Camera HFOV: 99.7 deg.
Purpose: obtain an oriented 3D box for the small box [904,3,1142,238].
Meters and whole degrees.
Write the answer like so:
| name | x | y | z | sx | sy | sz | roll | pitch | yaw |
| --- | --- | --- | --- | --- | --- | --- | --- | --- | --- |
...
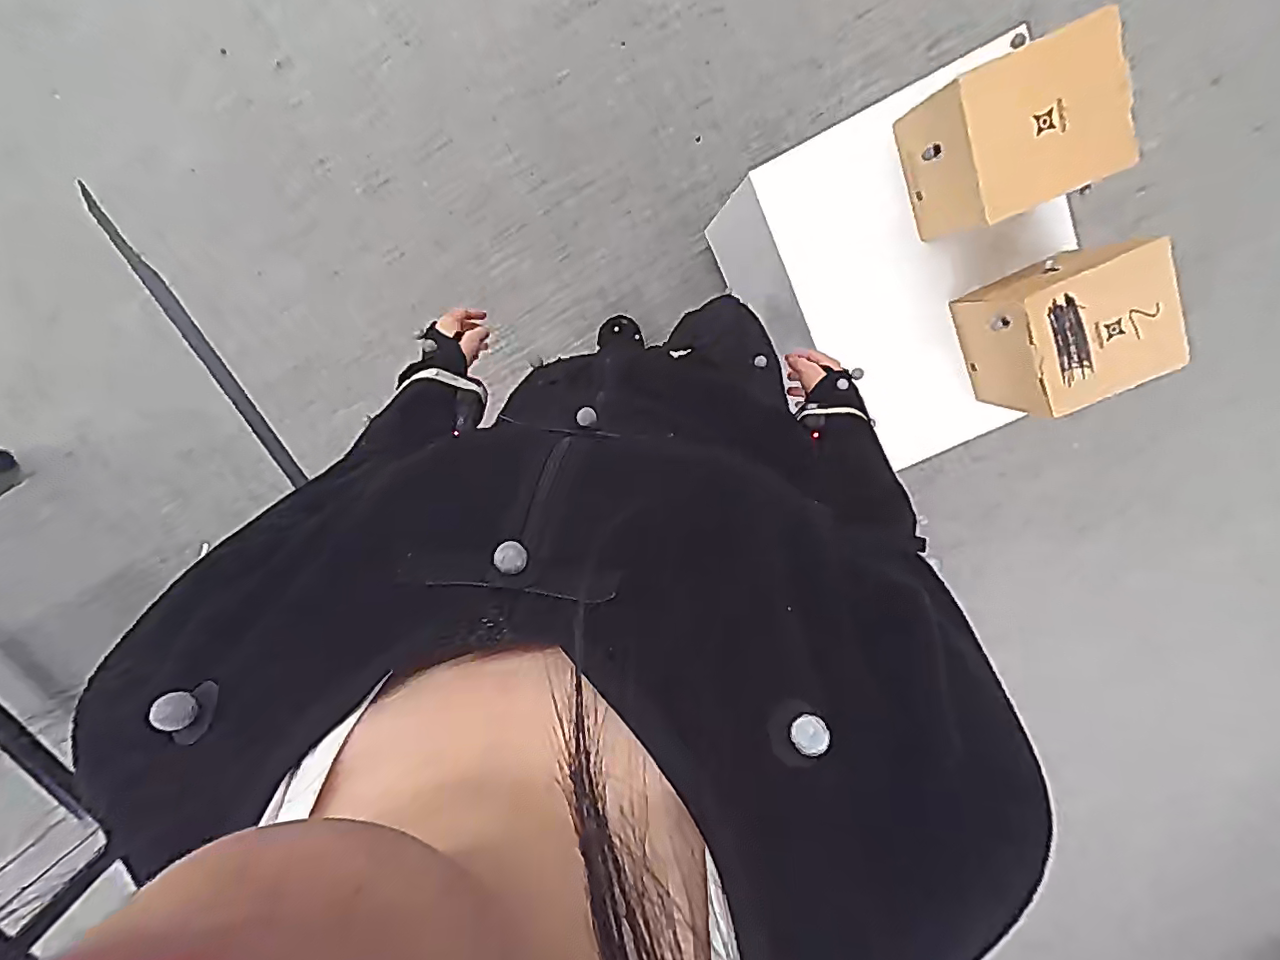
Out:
| name | x | y | z | sx | sy | sz | roll | pitch | yaw |
| --- | --- | --- | --- | --- | --- | --- | --- | --- | --- |
| small box | 0.456 | -0.422 | 0.674 | 0.179 | 0.176 | 0.168 | -22 | 106 | 7 |
